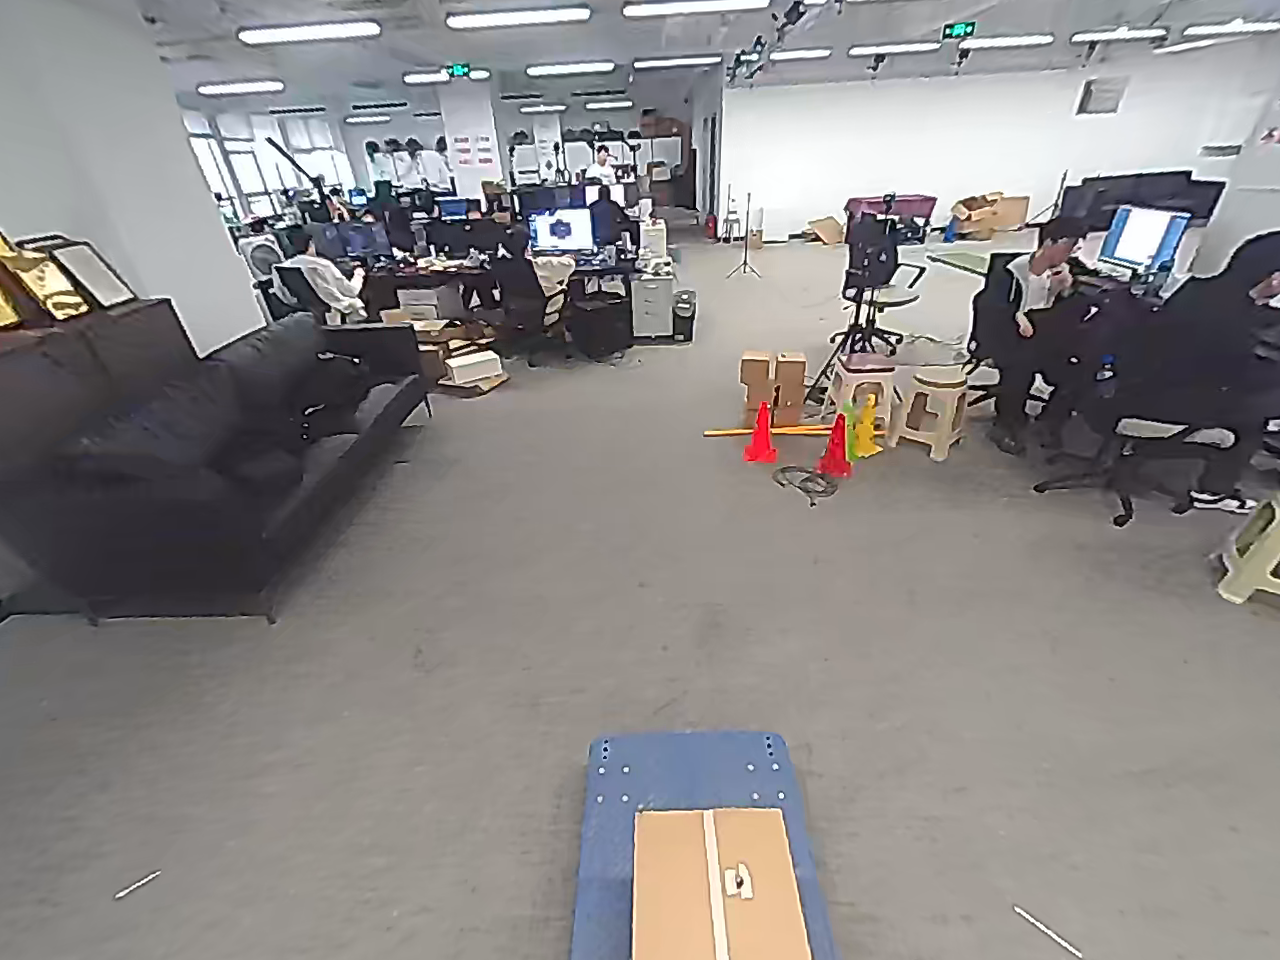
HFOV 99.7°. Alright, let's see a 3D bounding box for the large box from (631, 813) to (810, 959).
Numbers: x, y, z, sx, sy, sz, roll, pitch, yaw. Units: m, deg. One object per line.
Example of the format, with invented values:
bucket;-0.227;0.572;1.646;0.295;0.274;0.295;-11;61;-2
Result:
large box;0.148;0.942;1.051;0.320;0.320;0.408;-2;30;1
